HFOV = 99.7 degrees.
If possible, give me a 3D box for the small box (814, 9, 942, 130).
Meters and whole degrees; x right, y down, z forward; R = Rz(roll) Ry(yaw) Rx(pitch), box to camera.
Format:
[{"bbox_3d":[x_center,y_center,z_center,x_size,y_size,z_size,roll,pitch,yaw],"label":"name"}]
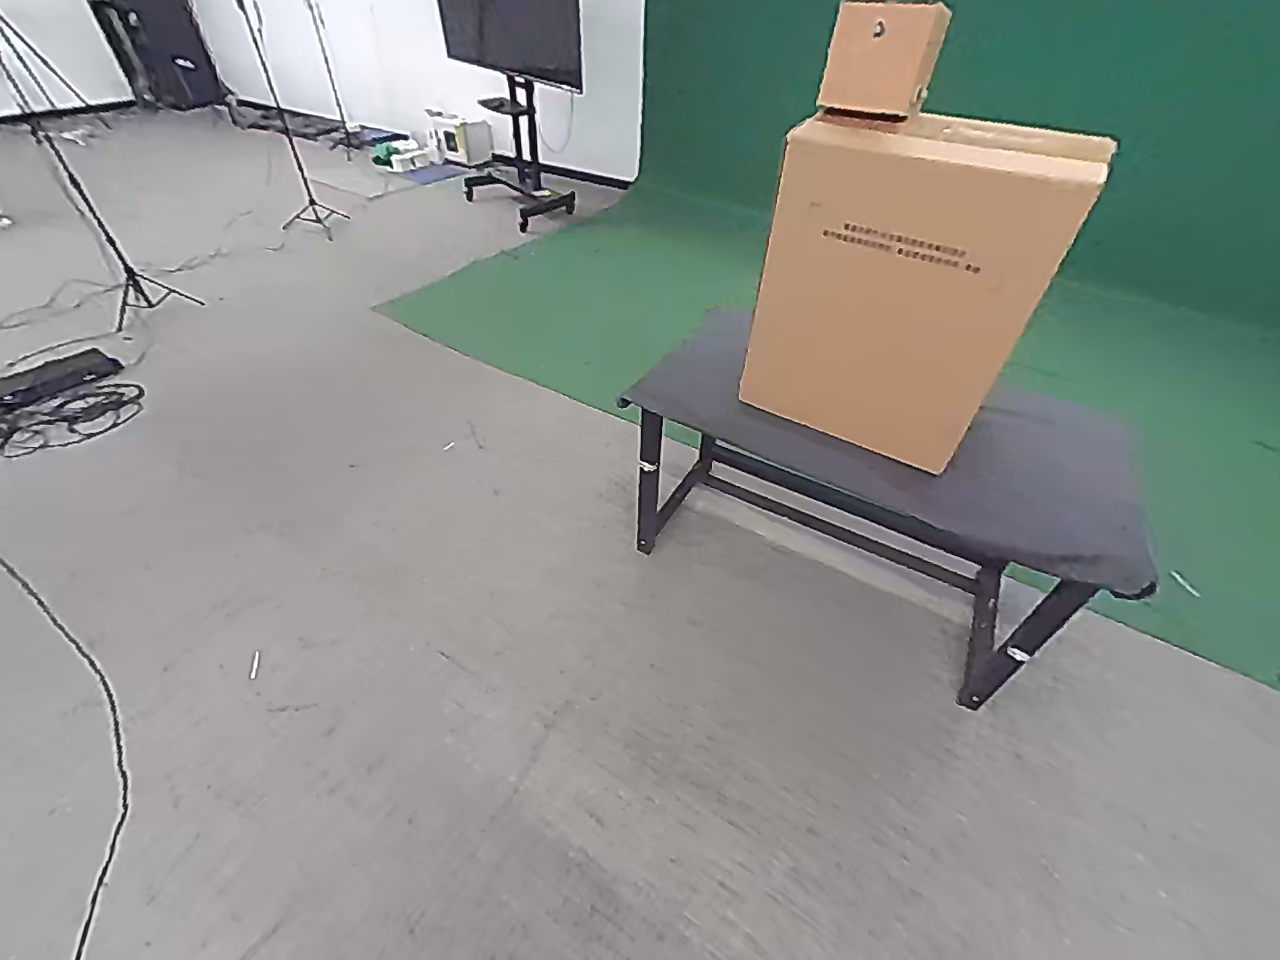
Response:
[{"bbox_3d":[0.472,-0.817,1.085,0.179,0.176,0.168,25,41,20],"label":"small box"}]
